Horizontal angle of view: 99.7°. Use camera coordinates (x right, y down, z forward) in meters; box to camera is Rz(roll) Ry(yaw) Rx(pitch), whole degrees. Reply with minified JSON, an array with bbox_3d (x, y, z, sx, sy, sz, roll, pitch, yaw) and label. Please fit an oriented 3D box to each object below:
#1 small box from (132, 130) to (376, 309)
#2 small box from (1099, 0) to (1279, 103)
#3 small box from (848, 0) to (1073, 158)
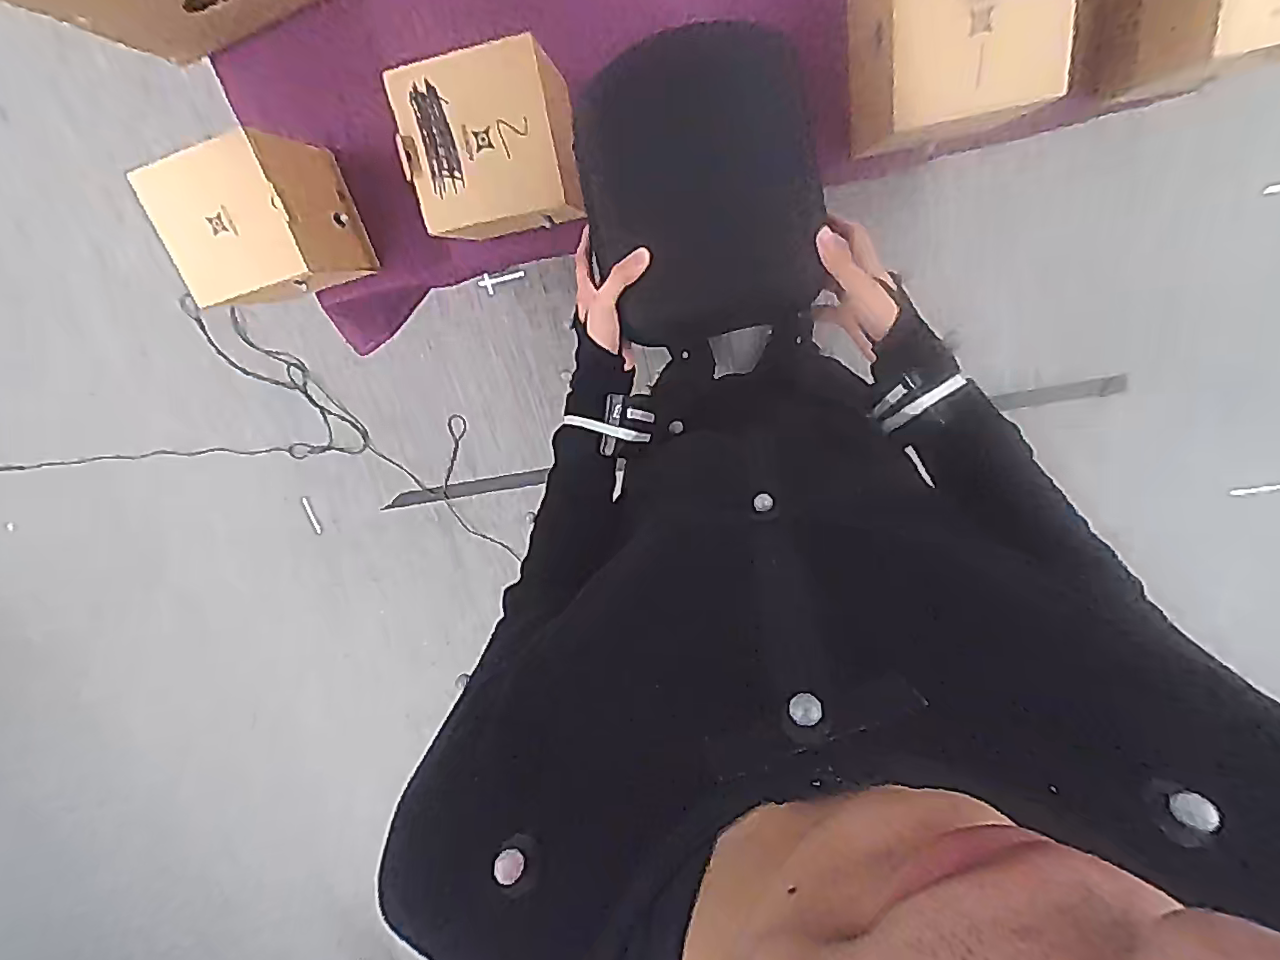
[{"bbox_3d":[-0.508,-0.343,0.741,0.179,0.176,0.168,-14,110,10],"label":"small box"},{"bbox_3d":[0.611,-0.517,0.543,0.168,0.176,0.179,-7,111,10],"label":"small box"},{"bbox_3d":[0.333,-0.479,0.592,0.168,0.176,0.179,-7,112,10],"label":"small box"}]
